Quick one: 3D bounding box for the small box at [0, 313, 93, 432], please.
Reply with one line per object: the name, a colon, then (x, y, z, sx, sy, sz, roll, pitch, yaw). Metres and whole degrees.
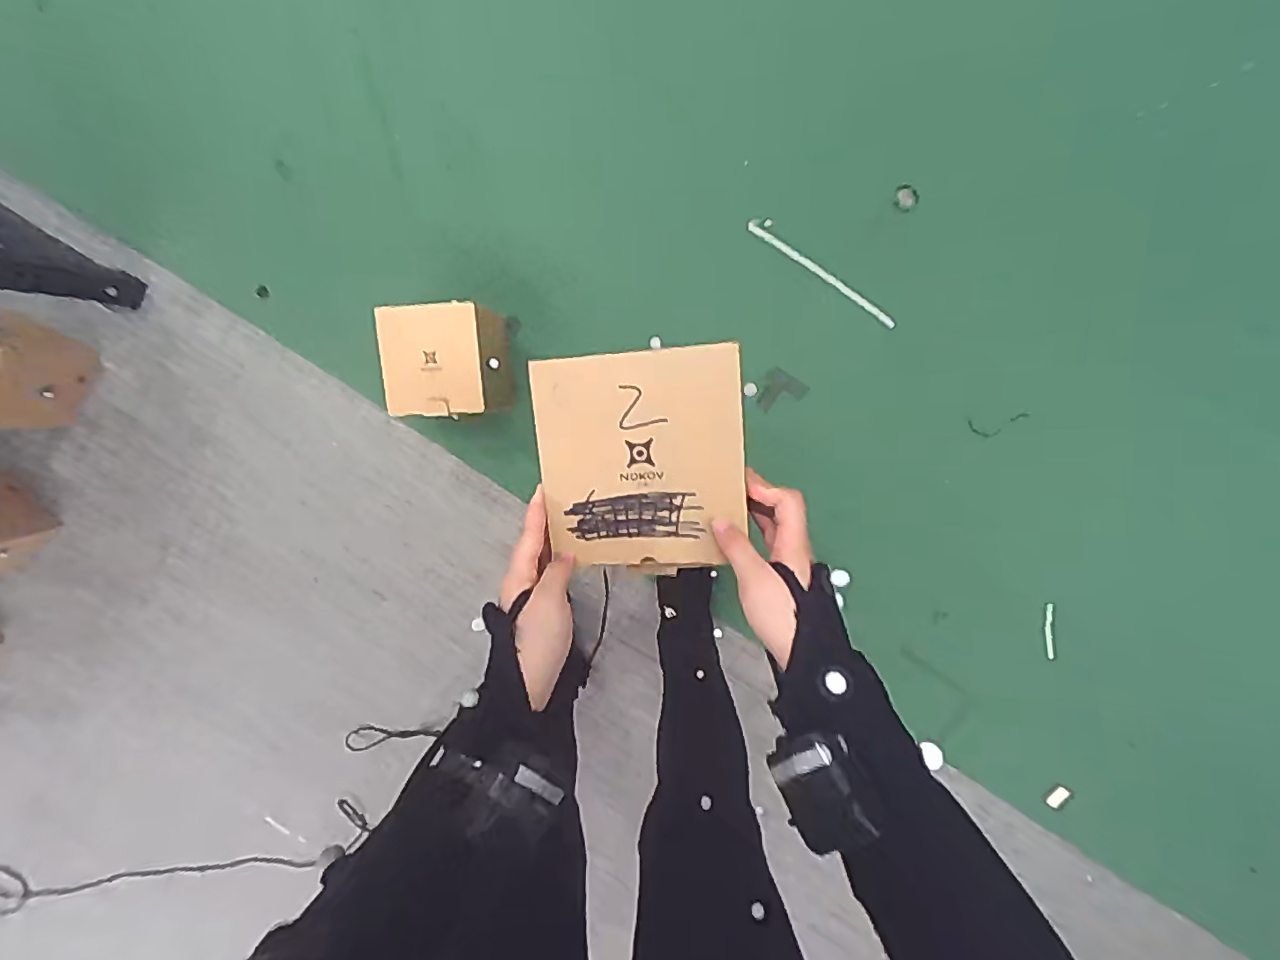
small box: (-1.181, -0.205, 0.993, 0.179, 0.176, 0.168, 27, 101, -2)

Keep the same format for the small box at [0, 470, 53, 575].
small box: (-1.338, 0.100, 1.065, 0.179, 0.176, 0.168, -36, 96, 11)

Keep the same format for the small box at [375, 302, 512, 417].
small box: (-0.333, -0.207, 0.946, 0.168, 0.176, 0.179, -3, 102, 4)
